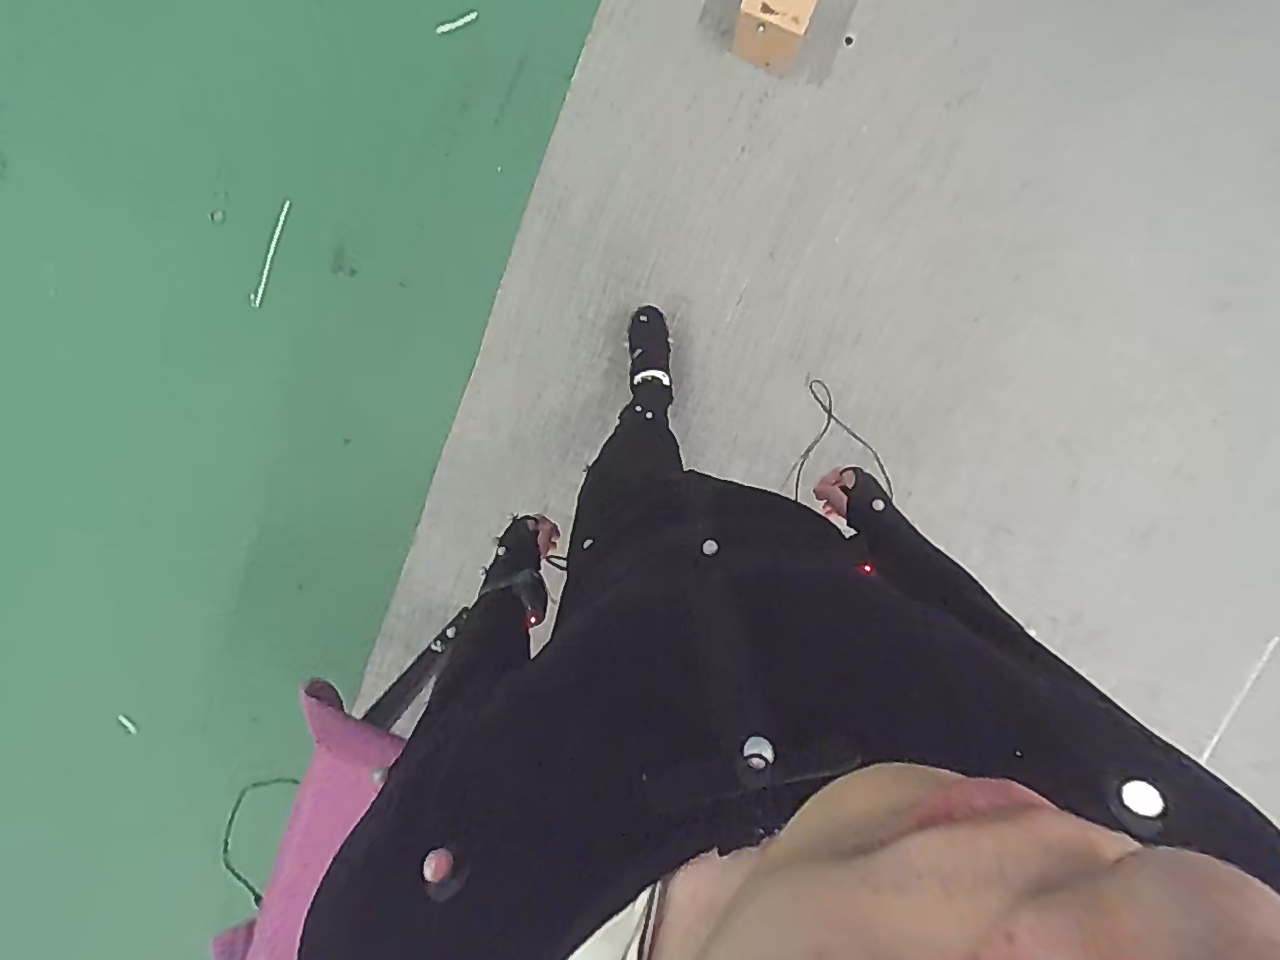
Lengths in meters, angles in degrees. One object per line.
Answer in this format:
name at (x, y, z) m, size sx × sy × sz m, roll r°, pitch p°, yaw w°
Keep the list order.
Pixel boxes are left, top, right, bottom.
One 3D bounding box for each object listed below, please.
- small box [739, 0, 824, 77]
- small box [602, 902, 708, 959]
small box at (0.358, -1.167, 1.347) m, size 0.168 × 0.176 × 0.179 m, roll 23°, pitch 97°, yaw 0°
small box at (0.018, 0.886, 0.921) m, size 0.168 × 0.176 × 0.179 m, roll 21°, pitch 98°, yaw -1°
